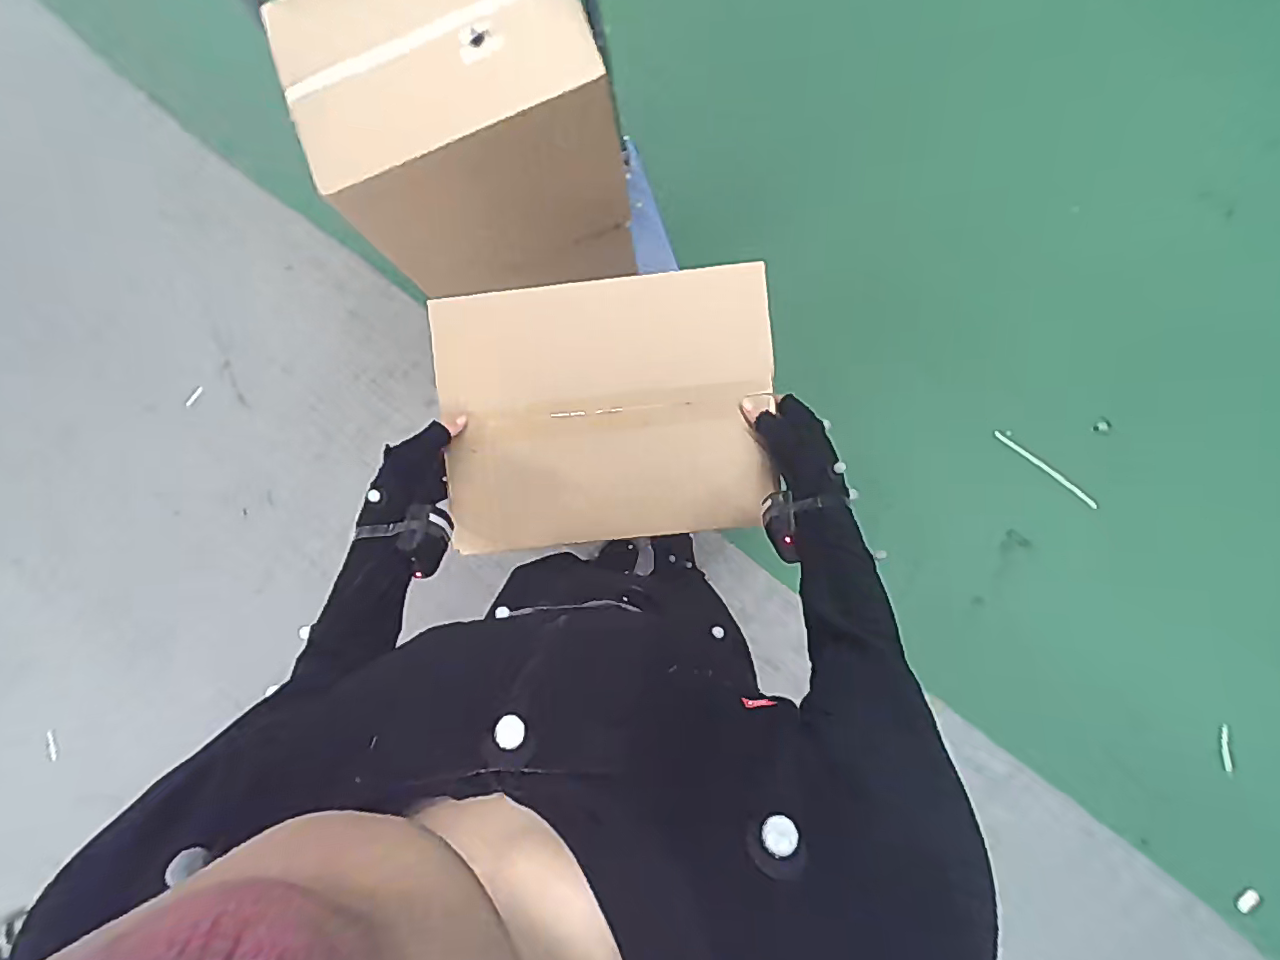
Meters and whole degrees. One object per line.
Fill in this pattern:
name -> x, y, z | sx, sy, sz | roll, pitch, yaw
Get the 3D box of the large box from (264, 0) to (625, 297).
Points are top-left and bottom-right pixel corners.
large box -> -0.273, -0.562, 0.862 | 0.408, 0.320, 0.320 | -21, 82, 2
